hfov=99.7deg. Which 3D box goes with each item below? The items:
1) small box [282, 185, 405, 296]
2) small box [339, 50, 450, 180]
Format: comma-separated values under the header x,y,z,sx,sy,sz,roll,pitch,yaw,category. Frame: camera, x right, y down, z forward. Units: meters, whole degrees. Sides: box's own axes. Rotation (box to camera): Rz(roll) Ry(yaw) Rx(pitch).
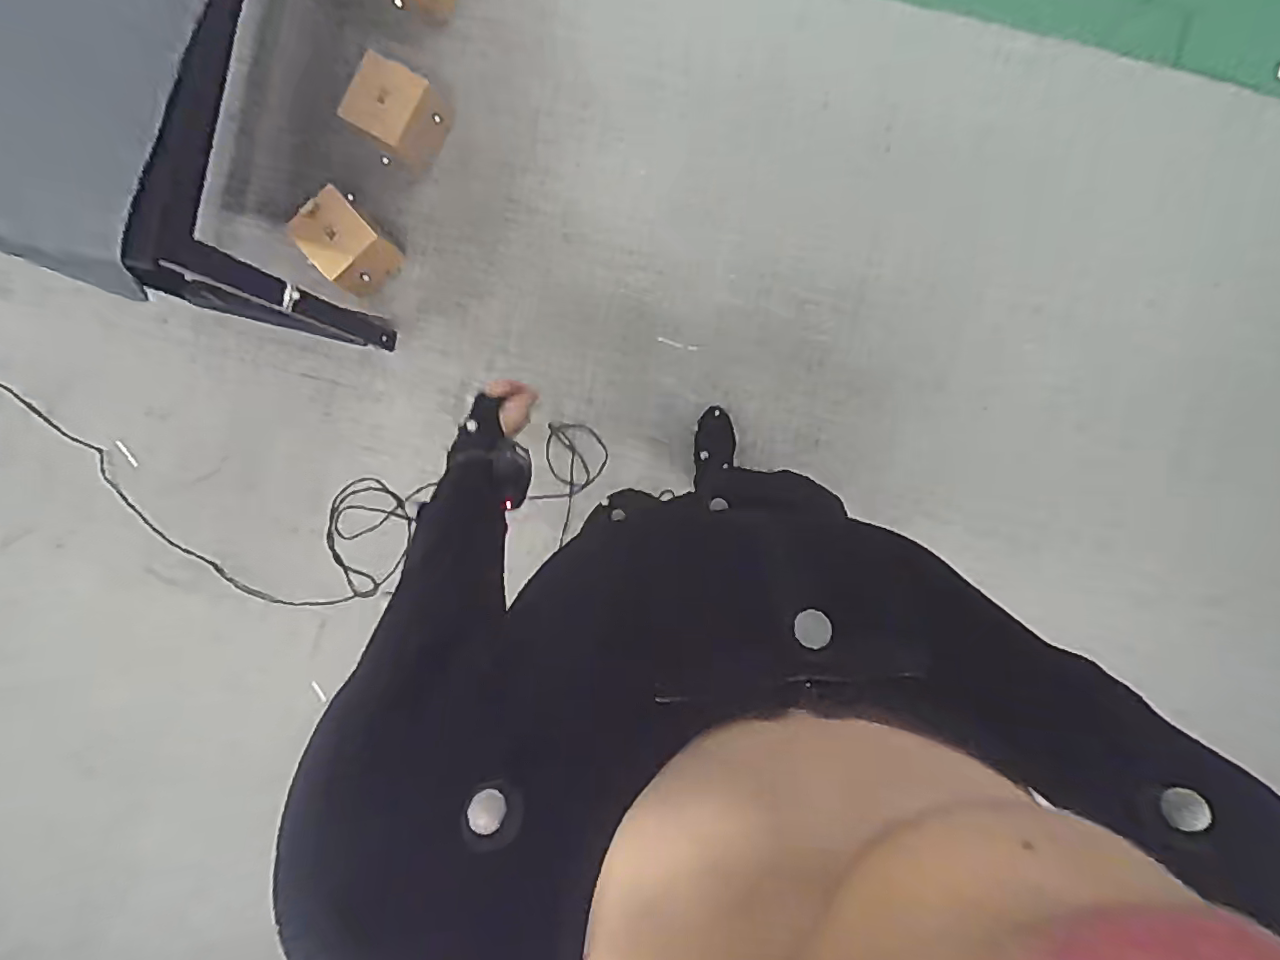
x,y,z,sx,sy,sz,roll,pitch,yaw,category
-0.739,-0.592,1.371,0.168,0.176,0.179,-42,91,3,small box
-0.602,-0.903,1.354,0.168,0.176,0.179,29,94,1,small box
